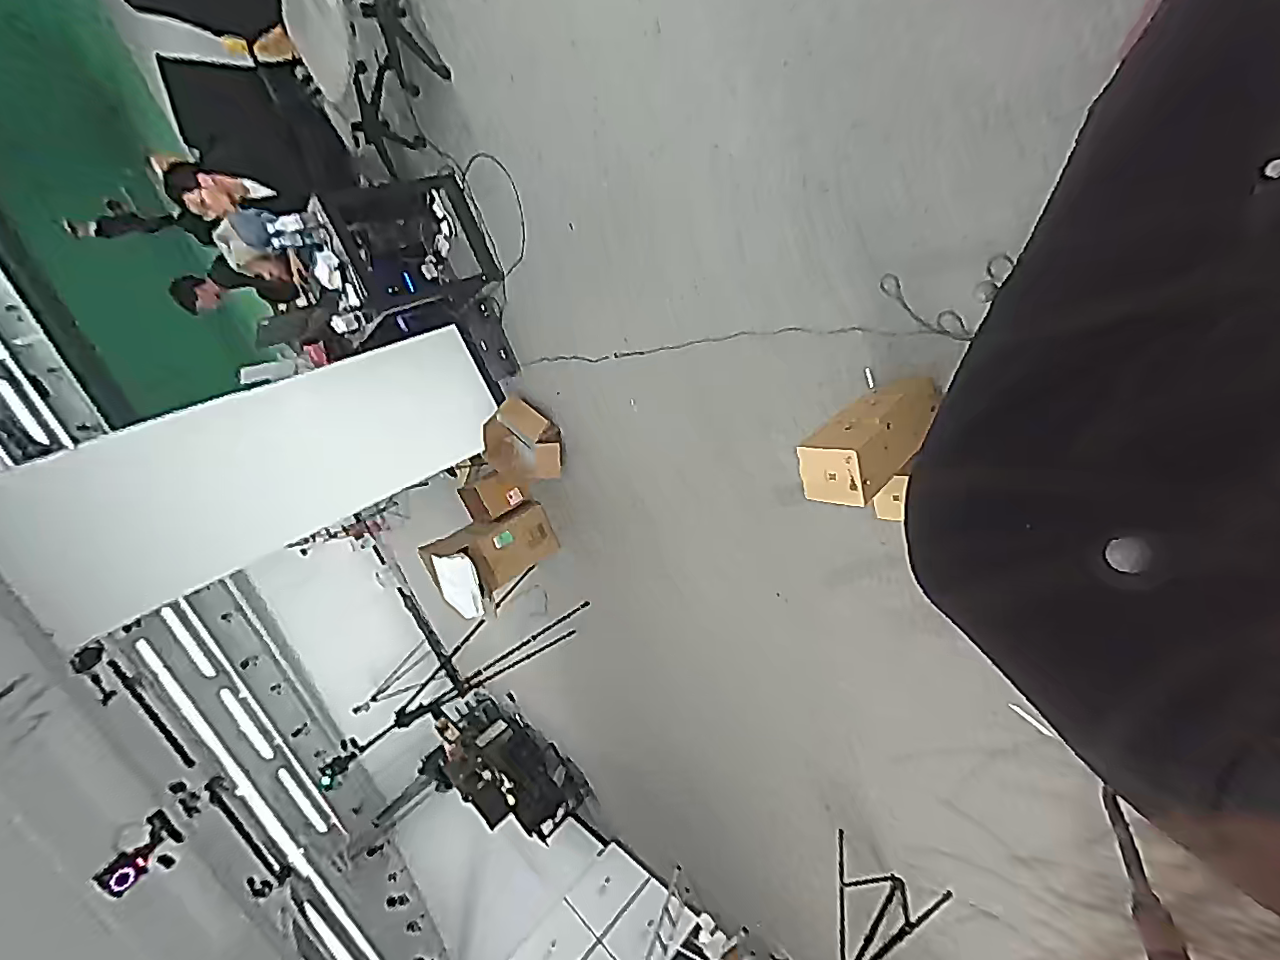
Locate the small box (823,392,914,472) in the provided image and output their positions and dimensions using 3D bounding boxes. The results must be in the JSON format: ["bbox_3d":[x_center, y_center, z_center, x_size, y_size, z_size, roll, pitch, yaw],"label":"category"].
[{"bbox_3d":[0.665,-0.135,1.561,0.168,0.176,0.179,0,118,52],"label":"small box"}]

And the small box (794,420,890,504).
[{"bbox_3d":[0.552,-0.057,1.471,0.179,0.176,0.168,11,126,49],"label":"small box"}]

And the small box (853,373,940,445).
[{"bbox_3d":[0.779,-0.210,1.649,0.179,0.176,0.168,-2,116,53],"label":"small box"}]

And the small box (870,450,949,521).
[{"bbox_3d":[0.857,0.010,1.730,0.179,0.176,0.168,4,121,50],"label":"small box"}]
